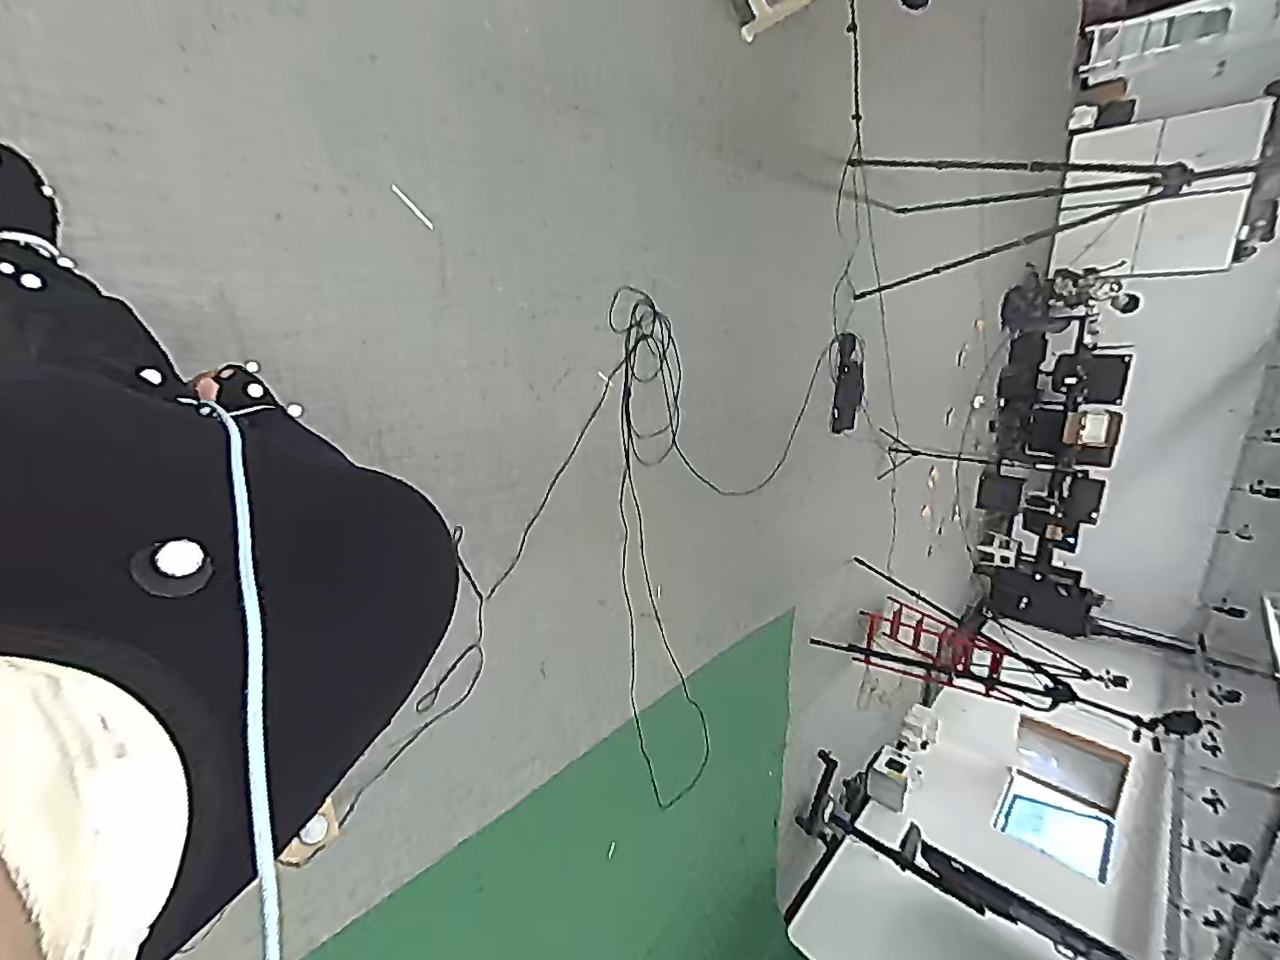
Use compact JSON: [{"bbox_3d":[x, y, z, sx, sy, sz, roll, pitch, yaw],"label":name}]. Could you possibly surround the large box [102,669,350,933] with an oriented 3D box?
[{"bbox_3d":[-1.006,0.746,1.337,0.408,0.320,0.320,-19,113,-41],"label":"large box"}]
